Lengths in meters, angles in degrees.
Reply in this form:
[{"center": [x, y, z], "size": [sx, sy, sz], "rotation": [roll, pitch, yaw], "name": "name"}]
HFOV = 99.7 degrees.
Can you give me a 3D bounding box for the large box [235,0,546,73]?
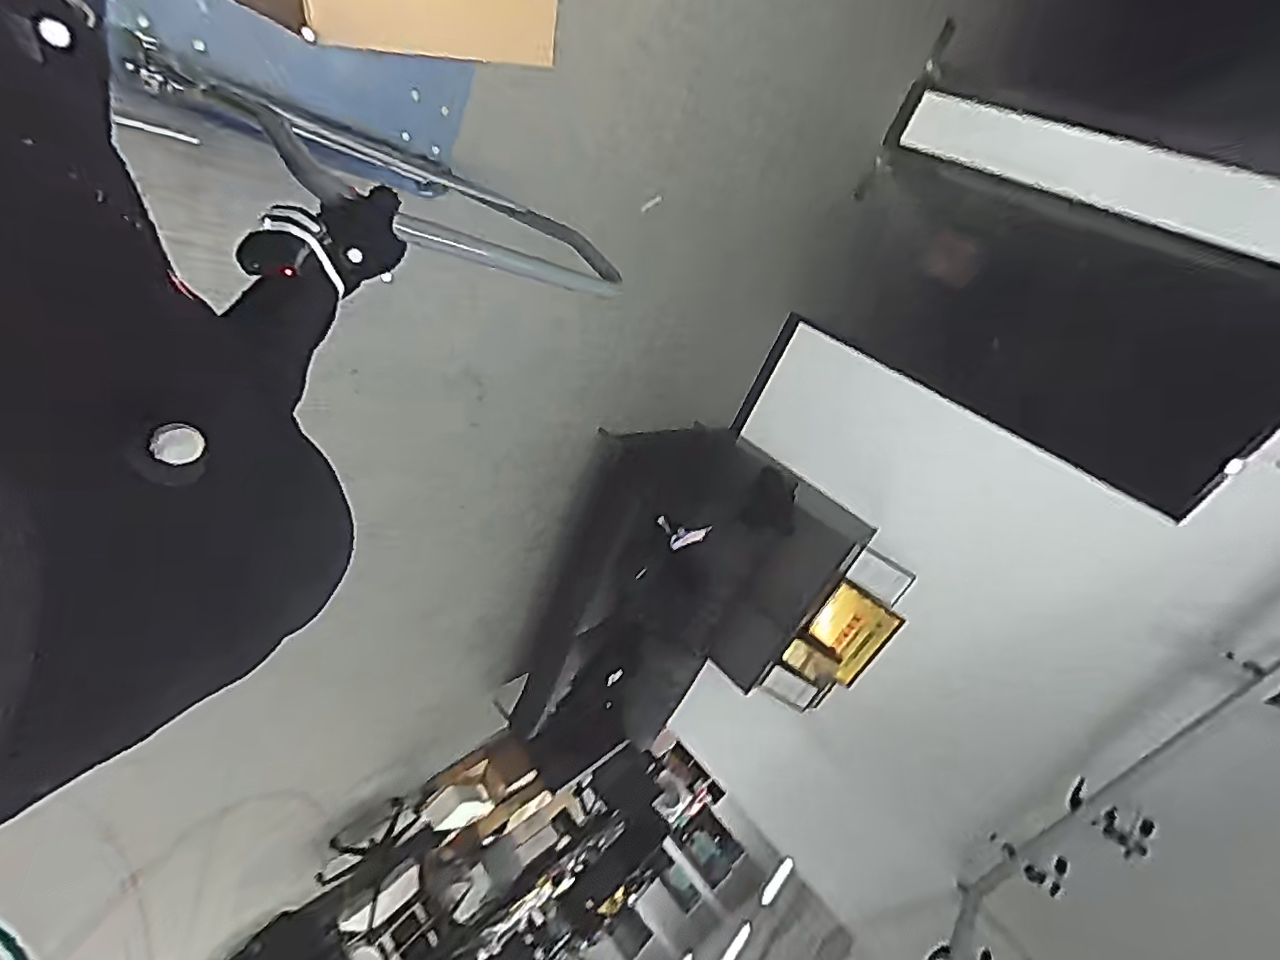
[{"center": [-0.389, -0.861, 0.828], "size": [0.408, 0.320, 0.320], "rotation": [-26, 144, -36], "name": "large box"}]
